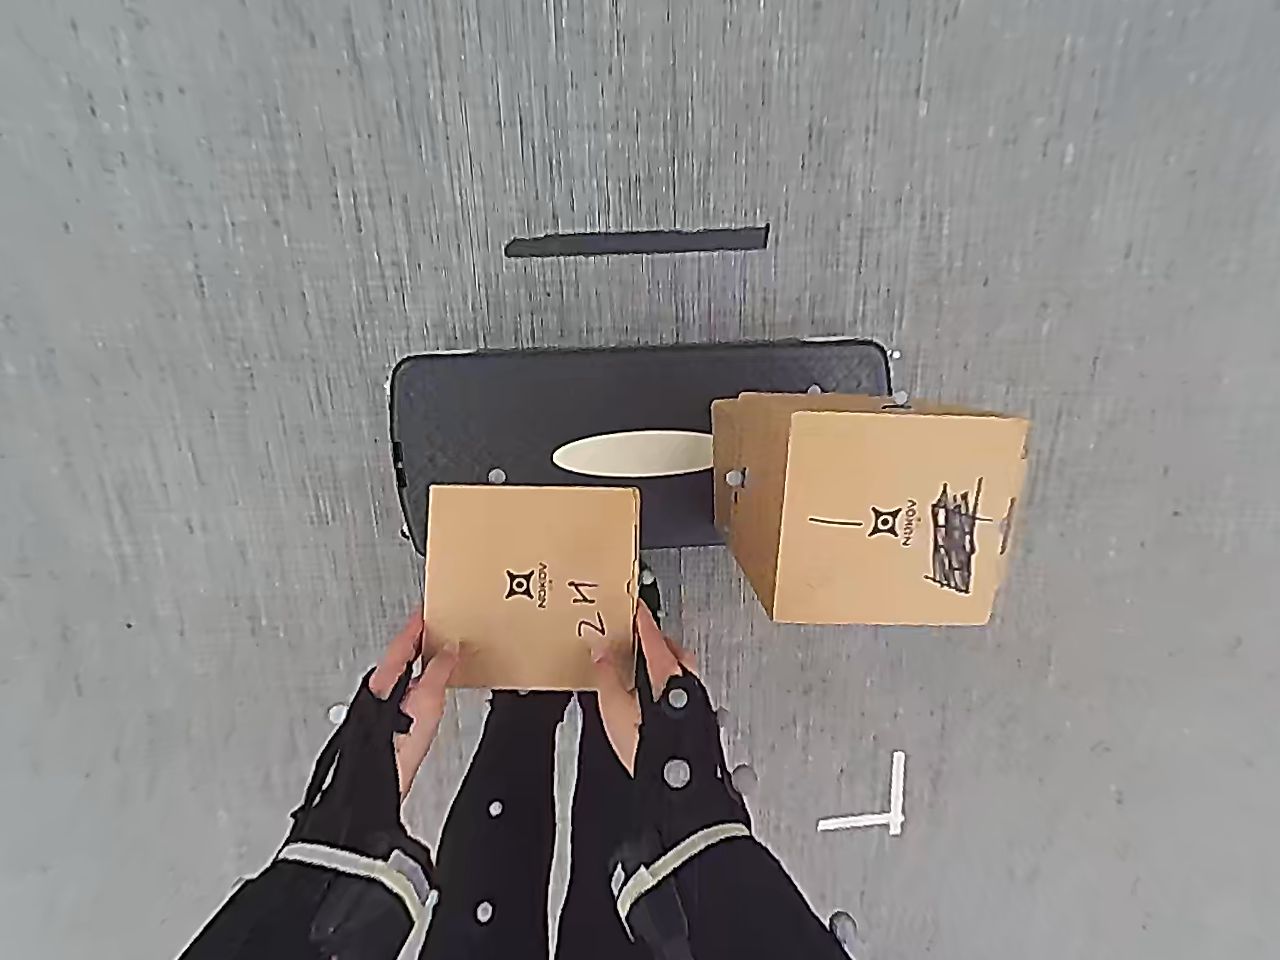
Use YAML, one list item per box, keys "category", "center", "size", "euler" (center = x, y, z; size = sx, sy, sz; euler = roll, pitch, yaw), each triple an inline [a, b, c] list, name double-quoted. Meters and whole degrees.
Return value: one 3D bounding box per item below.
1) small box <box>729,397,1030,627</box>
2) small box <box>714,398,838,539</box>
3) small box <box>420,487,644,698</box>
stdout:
- category: "small box"
  center: [0.189, 0.016, 0.481]
  size: [0.179, 0.176, 0.168]
  euler: [1, 103, -4]
- category: "small box"
  center: [0.185, -0.006, 0.645]
  size: [0.168, 0.176, 0.179]
  euler: [-4, 103, -2]
- category: "small box"
  center: [-0.086, 0.097, 0.515]
  size: [0.179, 0.176, 0.168]
  euler: [1, 85, 0]
